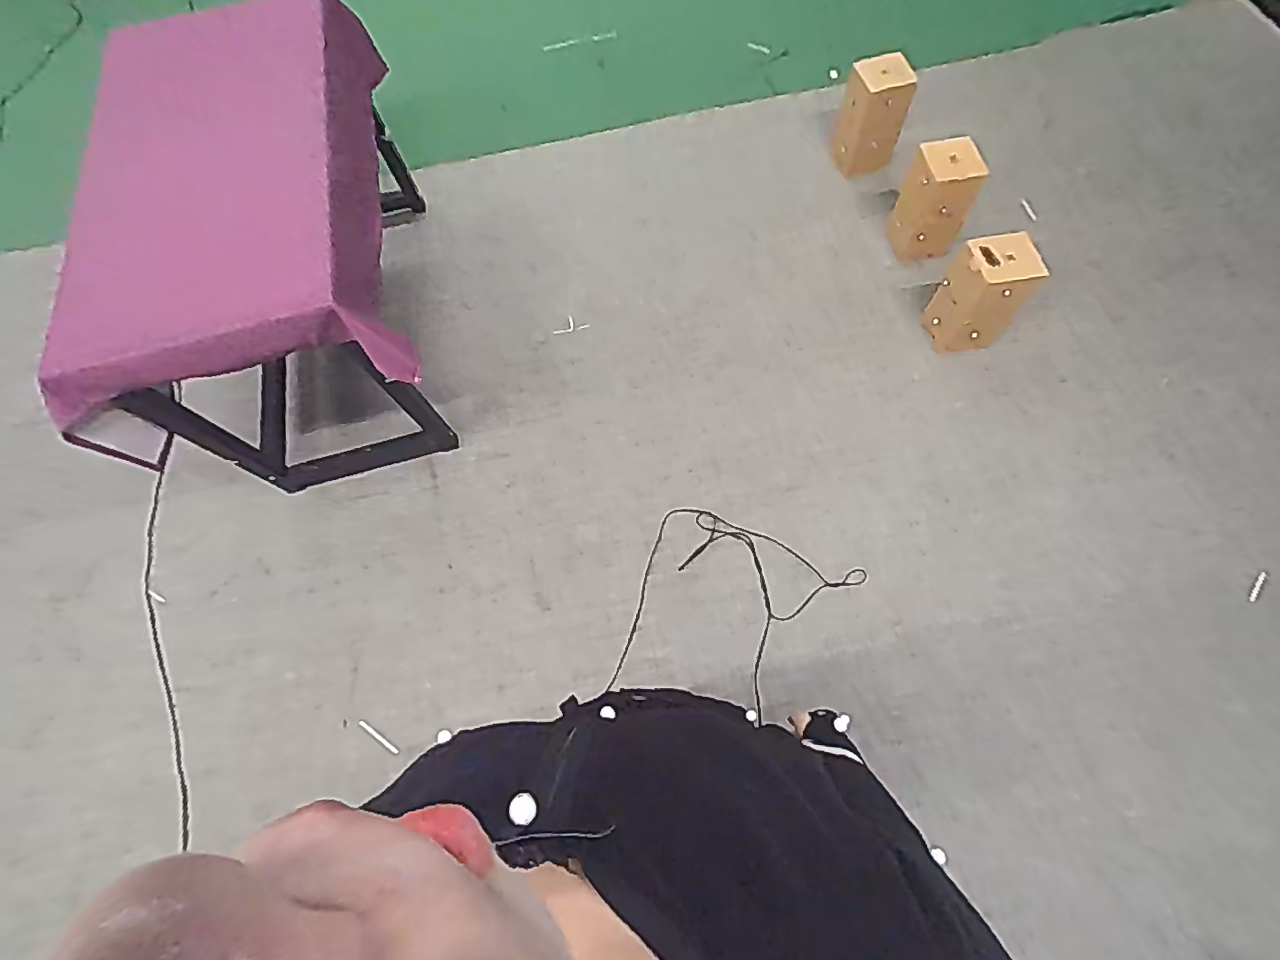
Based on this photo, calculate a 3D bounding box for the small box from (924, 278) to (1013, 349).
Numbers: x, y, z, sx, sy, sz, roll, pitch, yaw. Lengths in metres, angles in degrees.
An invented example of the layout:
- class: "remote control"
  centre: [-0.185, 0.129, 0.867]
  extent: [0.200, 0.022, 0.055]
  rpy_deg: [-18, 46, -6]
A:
- class: "small box"
  centre: [1.046, -0.544, 1.747]
  extent: [0.179, 0.176, 0.168]
  rpy_deg: [-9, 68, 1]

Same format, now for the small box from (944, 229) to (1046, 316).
- class: "small box"
  centre: [1.031, -0.605, 1.594]
  extent: [0.179, 0.176, 0.168]
  rpy_deg: [-8, 68, 0]

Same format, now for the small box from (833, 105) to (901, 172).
- class: "small box"
  centre: [0.857, -1.315, 2.068]
  extent: [0.179, 0.176, 0.168]
  rpy_deg: [-13, 69, -2]

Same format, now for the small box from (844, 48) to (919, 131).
- class: "small box"
  centre: [0.843, -1.377, 1.916]
  extent: [0.179, 0.176, 0.168]
  rpy_deg: [-14, 69, -2]

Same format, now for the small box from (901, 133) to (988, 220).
- class: "small box"
  centre: [0.973, -0.976, 1.747]
  extent: [0.168, 0.176, 0.179]
  rpy_deg: [-8, 68, 0]
